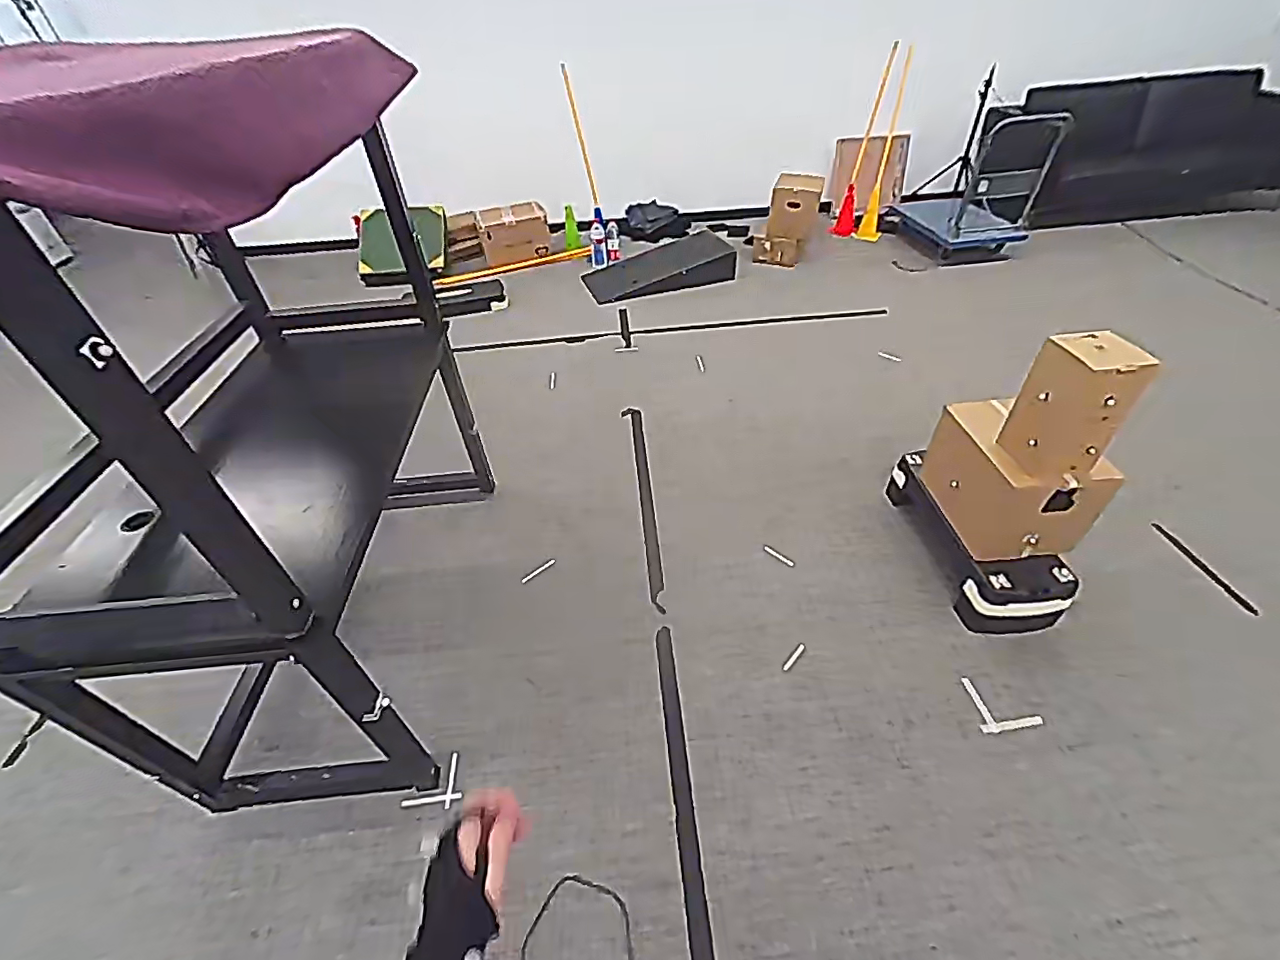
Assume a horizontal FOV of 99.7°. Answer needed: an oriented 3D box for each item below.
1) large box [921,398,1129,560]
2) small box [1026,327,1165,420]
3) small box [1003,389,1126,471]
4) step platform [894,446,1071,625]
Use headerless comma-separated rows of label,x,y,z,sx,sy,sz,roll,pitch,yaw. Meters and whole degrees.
large box,1.152,-0.008,1.682,0.320,0.320,0.408,-5,41,-2
small box,1.125,-0.261,1.353,0.168,0.176,0.179,-5,42,-2
small box,1.133,-0.137,1.460,0.168,0.176,0.179,-5,41,-1
step platform,1.137,0.152,1.861,0.286,0.204,0.684,-2,41,3
